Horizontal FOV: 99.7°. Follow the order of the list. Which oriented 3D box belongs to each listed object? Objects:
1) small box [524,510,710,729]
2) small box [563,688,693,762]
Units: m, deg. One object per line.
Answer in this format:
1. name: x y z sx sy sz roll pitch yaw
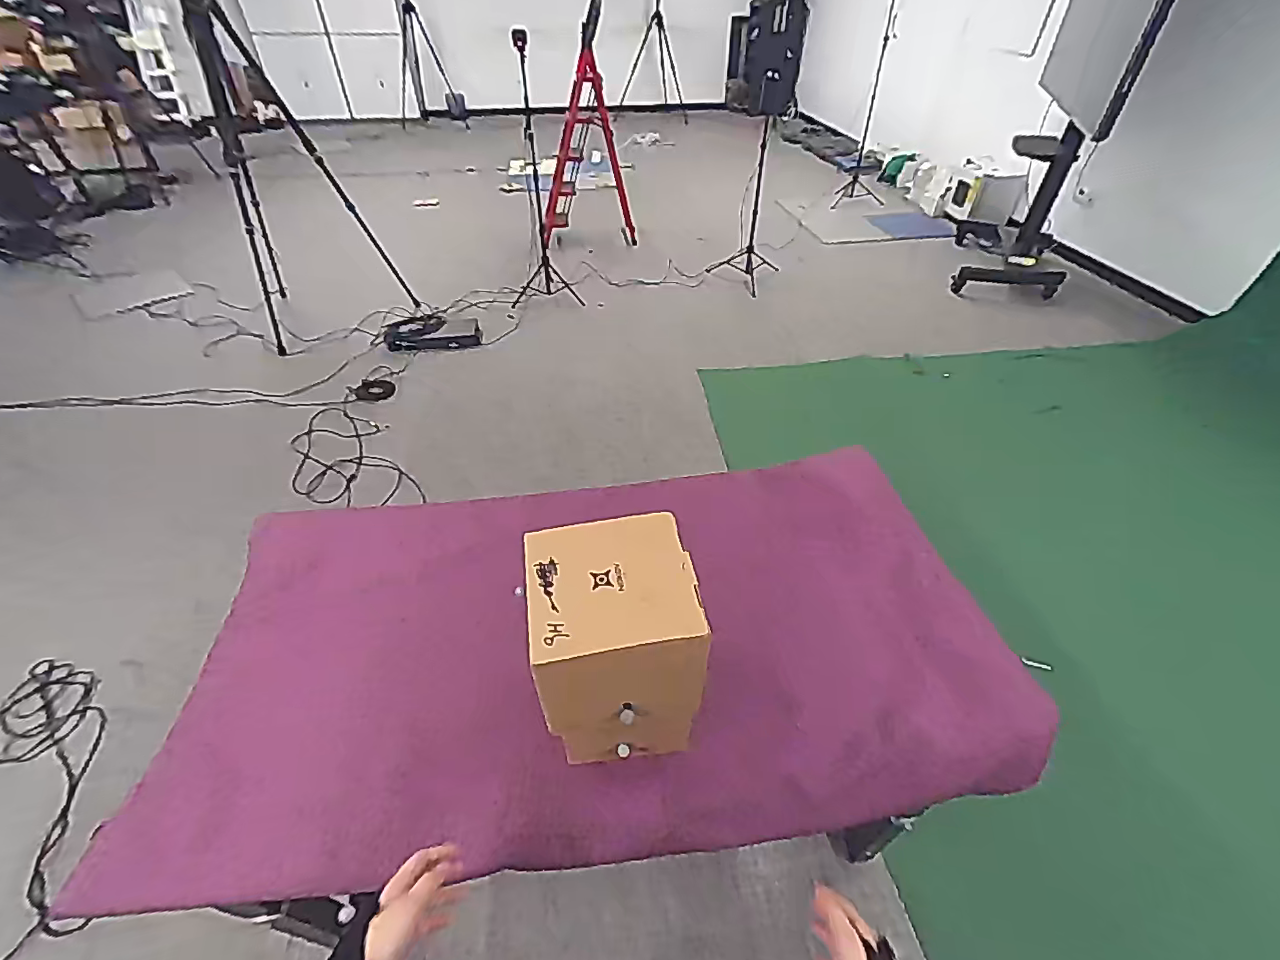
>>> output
1. small box: -0.033 0.158 0.614 0.179 0.176 0.168 -7 44 -7
2. small box: -0.028 0.259 0.746 0.168 0.176 0.179 -6 43 -5
